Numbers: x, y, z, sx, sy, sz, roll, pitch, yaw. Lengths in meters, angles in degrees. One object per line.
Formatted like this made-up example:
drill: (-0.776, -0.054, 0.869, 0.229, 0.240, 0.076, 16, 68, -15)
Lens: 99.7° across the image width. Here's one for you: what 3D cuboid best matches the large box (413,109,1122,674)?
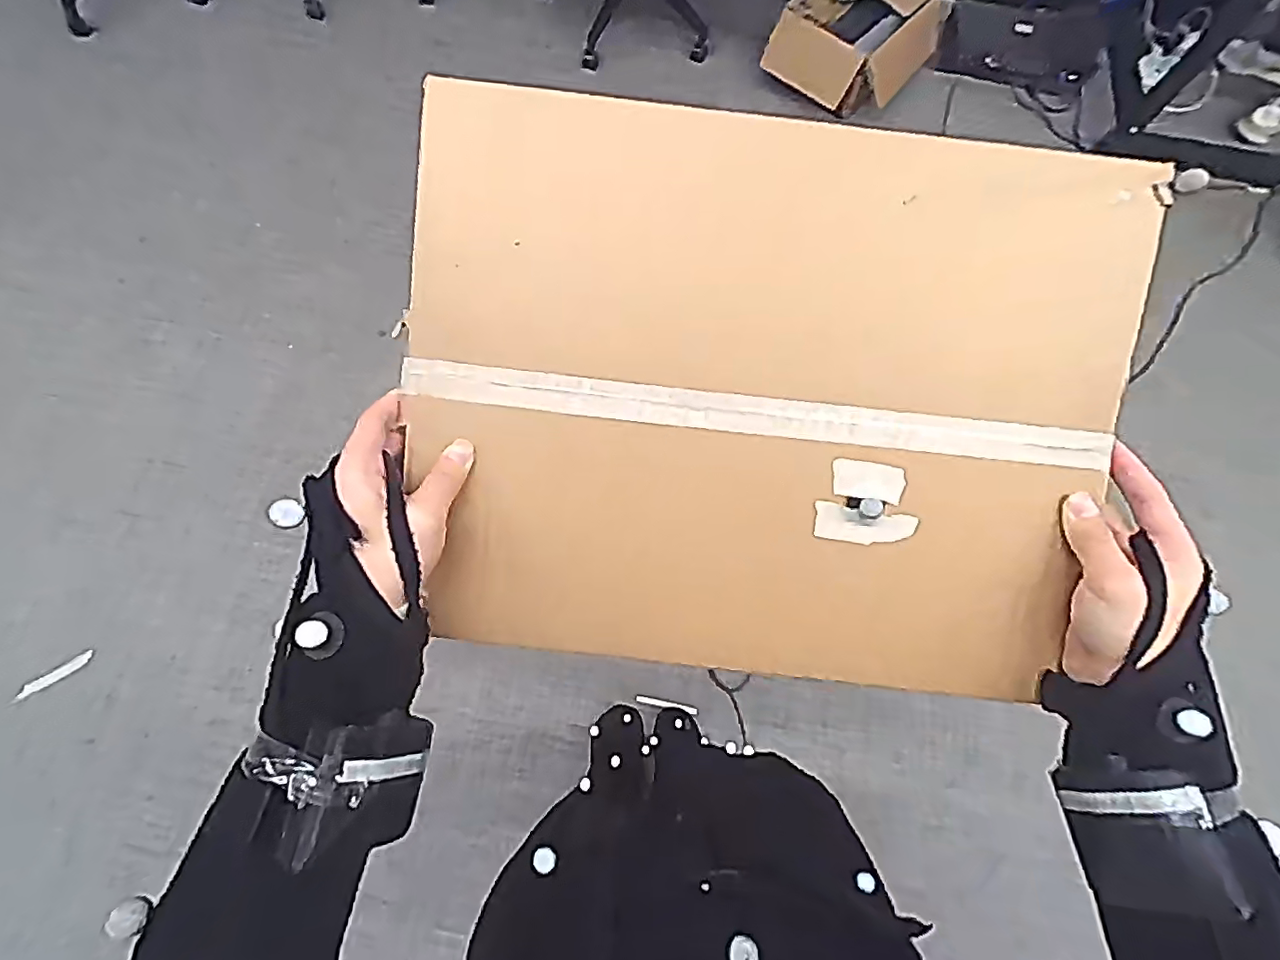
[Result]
large box: (0.064, -0.060, 0.471, 0.408, 0.320, 0.320, 6, 98, -1)
